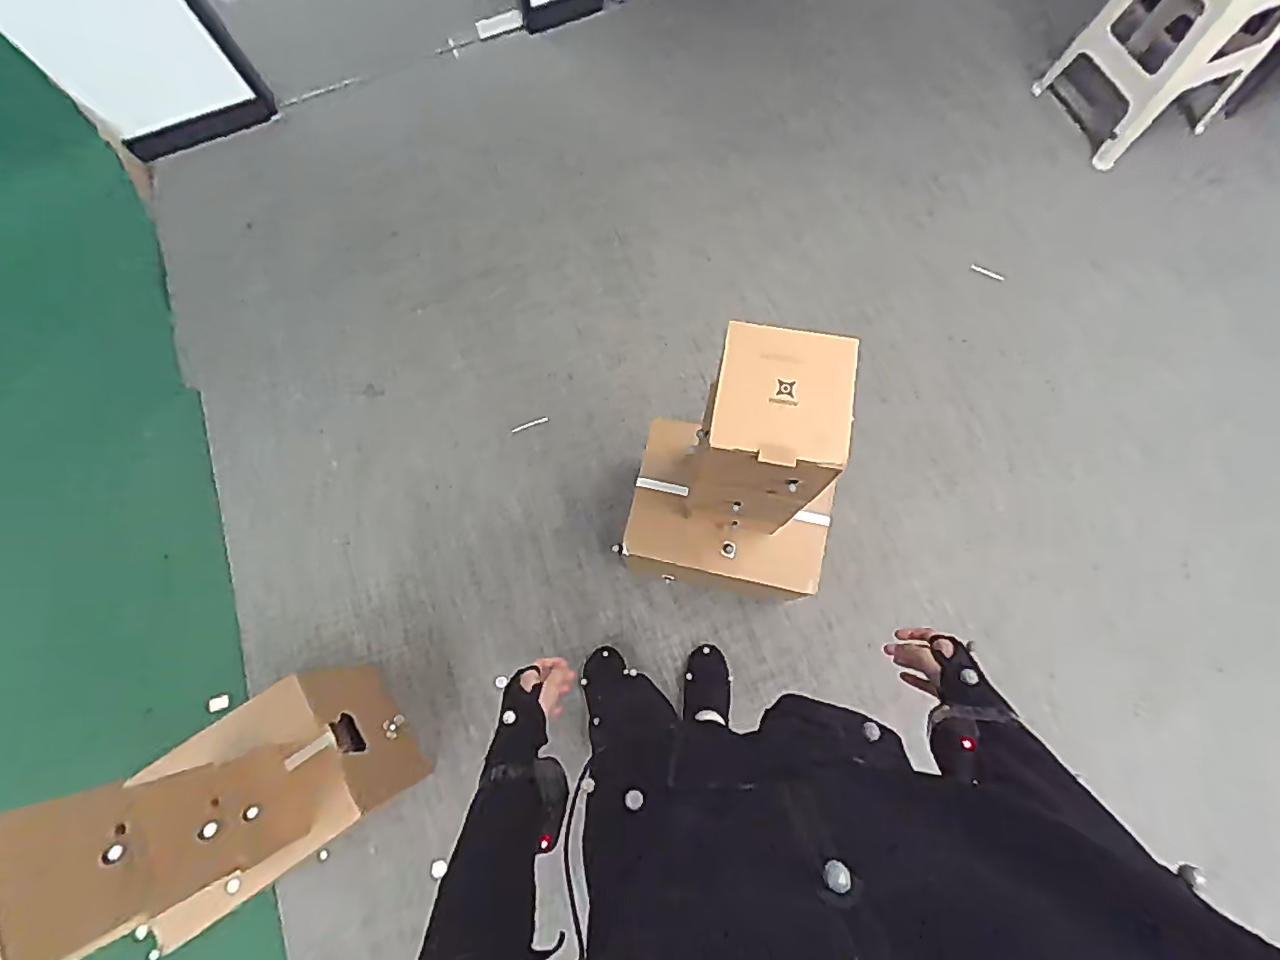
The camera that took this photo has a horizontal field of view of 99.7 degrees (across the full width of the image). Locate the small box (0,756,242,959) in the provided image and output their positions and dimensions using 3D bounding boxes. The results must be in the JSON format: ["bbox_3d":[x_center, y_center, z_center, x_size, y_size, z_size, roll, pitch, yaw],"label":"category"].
[{"bbox_3d":[-0.720,0.522,0.761,0.179,0.176,0.168,-27,76,-6],"label":"small box"}]

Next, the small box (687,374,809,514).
[{"bbox_3d":[0.180,-0.050,0.886,0.179,0.176,0.168,12,75,6],"label":"small box"}]

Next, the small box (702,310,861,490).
[{"bbox_3d":[0.180,-0.097,0.730,0.168,0.176,0.179,10,74,4],"label":"small box"}]

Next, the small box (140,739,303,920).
[{"bbox_3d":[-0.715,0.572,0.915,0.168,0.176,0.179,-29,76,-6],"label":"small box"}]

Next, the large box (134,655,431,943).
[{"bbox_3d":[-0.745,0.627,1.156,0.408,0.320,0.320,-34,75,-6],"label":"large box"}]

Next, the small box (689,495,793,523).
[{"bbox_3d":[0.197,-0.020,1.048,0.179,0.176,0.168,9,74,3],"label":"small box"}]
